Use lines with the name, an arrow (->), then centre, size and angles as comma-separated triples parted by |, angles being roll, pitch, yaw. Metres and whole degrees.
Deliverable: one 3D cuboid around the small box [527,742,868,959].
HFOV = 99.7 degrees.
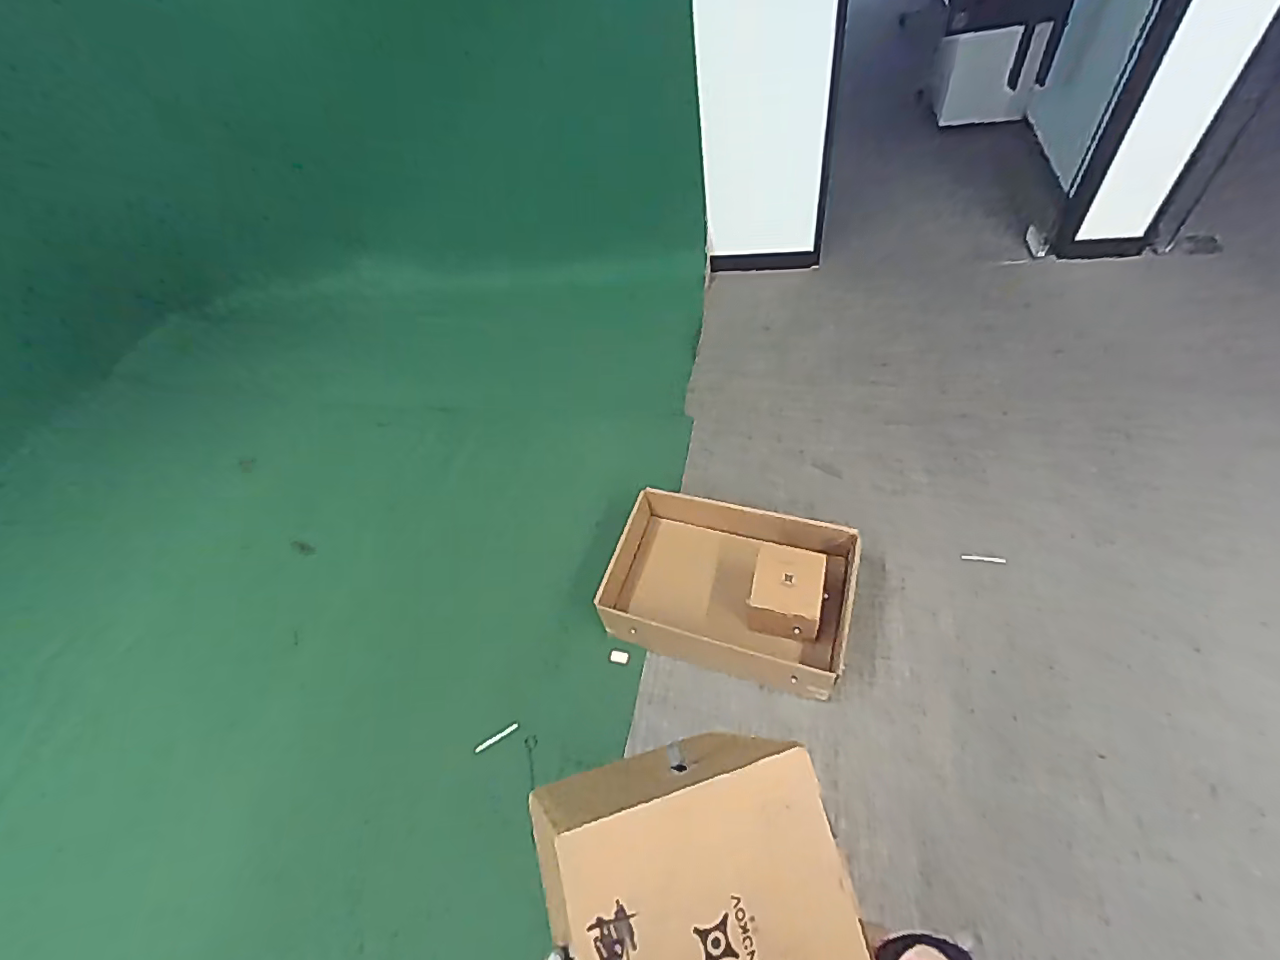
small box -> 0.027, 0.297, 0.383 | 0.179, 0.176, 0.168 | -8, 70, -21
